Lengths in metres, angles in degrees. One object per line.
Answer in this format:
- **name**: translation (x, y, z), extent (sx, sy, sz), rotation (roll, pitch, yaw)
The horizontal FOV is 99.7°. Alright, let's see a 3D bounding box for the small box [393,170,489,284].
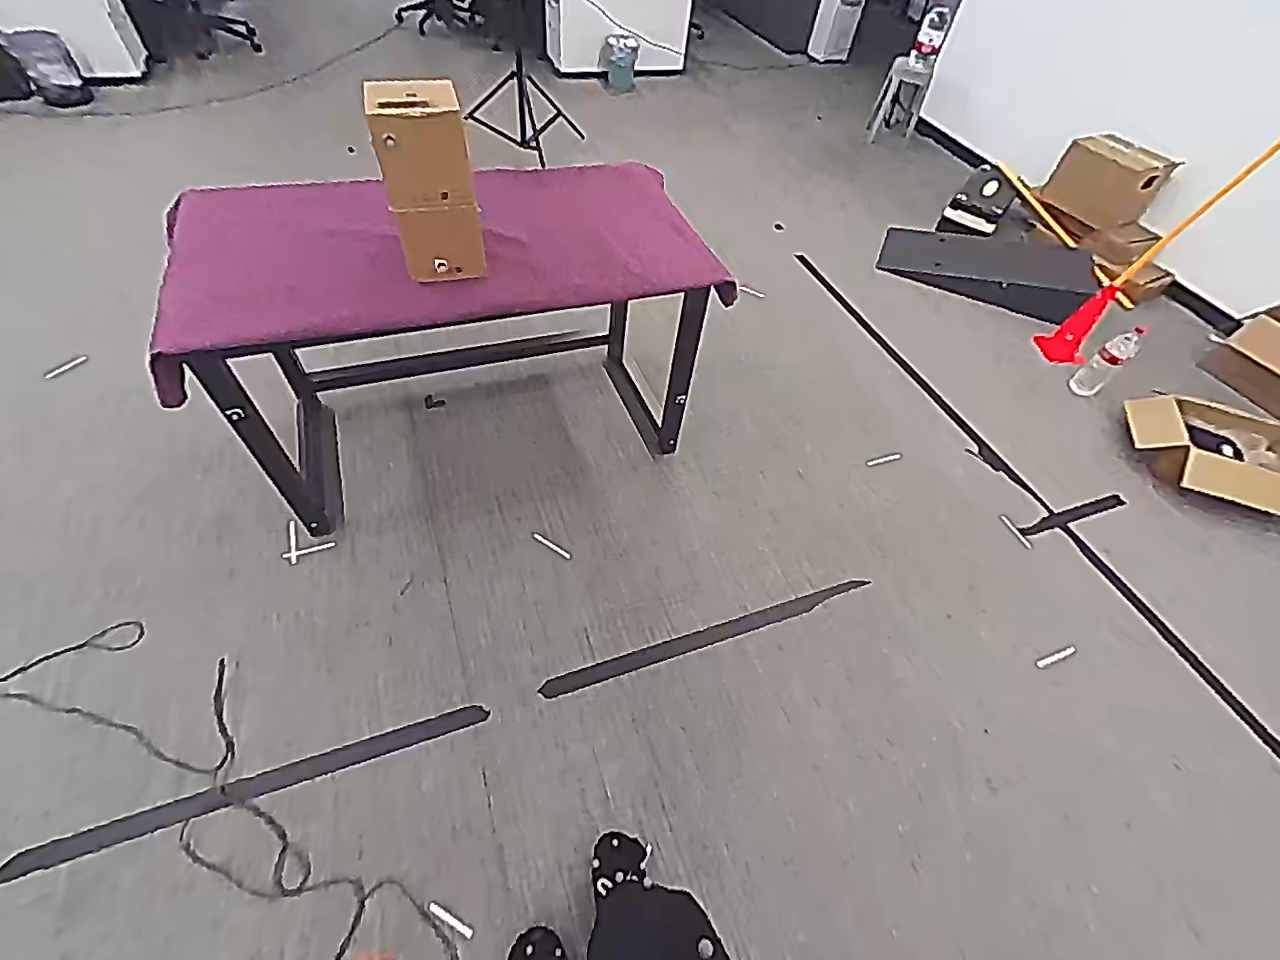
- **small box**: translation (-0.442, -0.565, 1.208), extent (0.168, 0.176, 0.179), rotation (-12, 55, -15)
